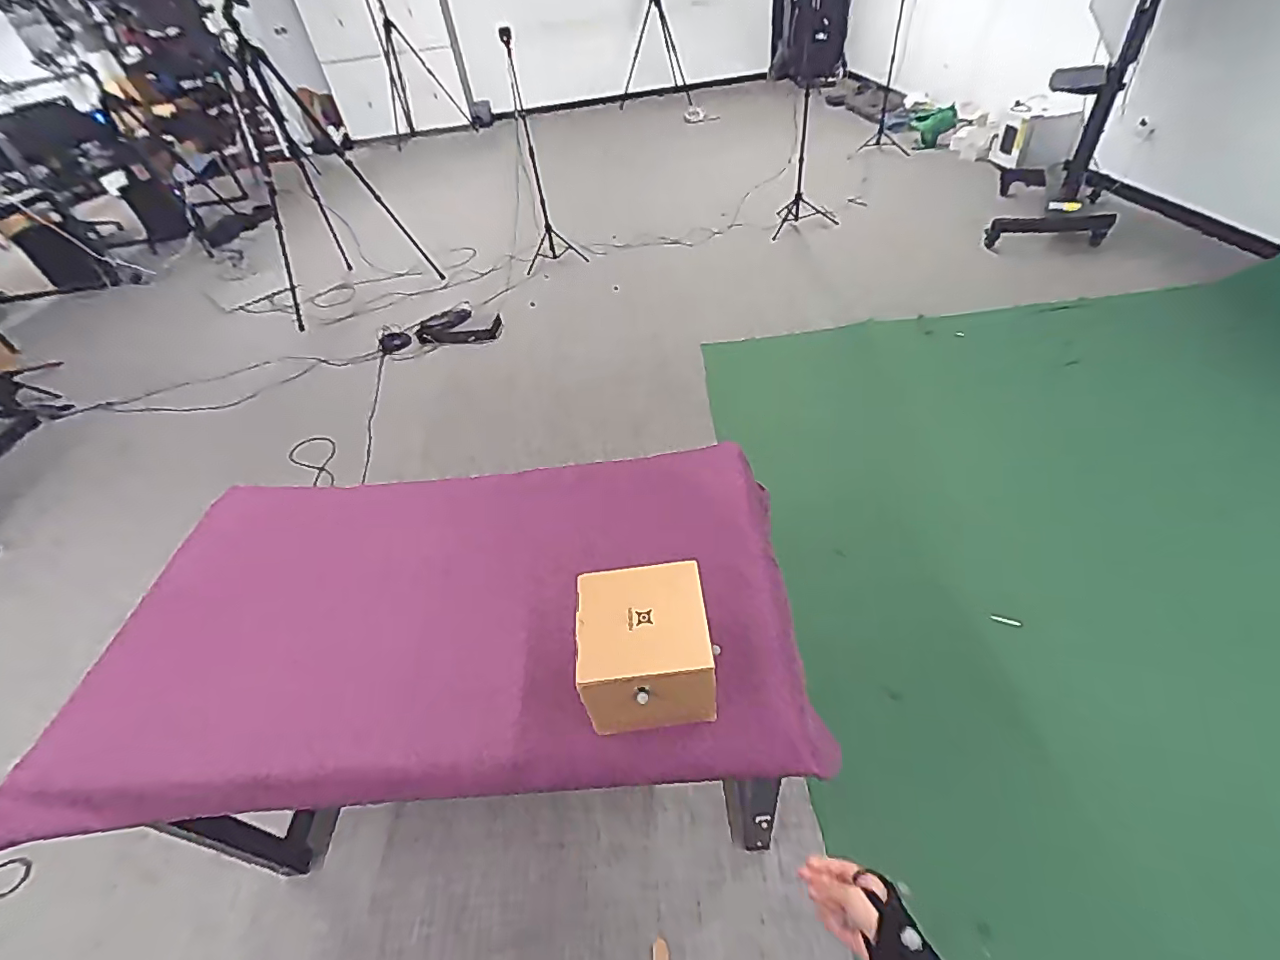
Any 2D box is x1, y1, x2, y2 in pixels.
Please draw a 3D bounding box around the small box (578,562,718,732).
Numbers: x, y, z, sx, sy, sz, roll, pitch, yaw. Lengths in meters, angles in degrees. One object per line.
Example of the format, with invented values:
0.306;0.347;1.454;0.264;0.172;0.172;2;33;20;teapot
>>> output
0.015;0.243;0.781;0.179;0.176;0.168;-10;45;3;small box
